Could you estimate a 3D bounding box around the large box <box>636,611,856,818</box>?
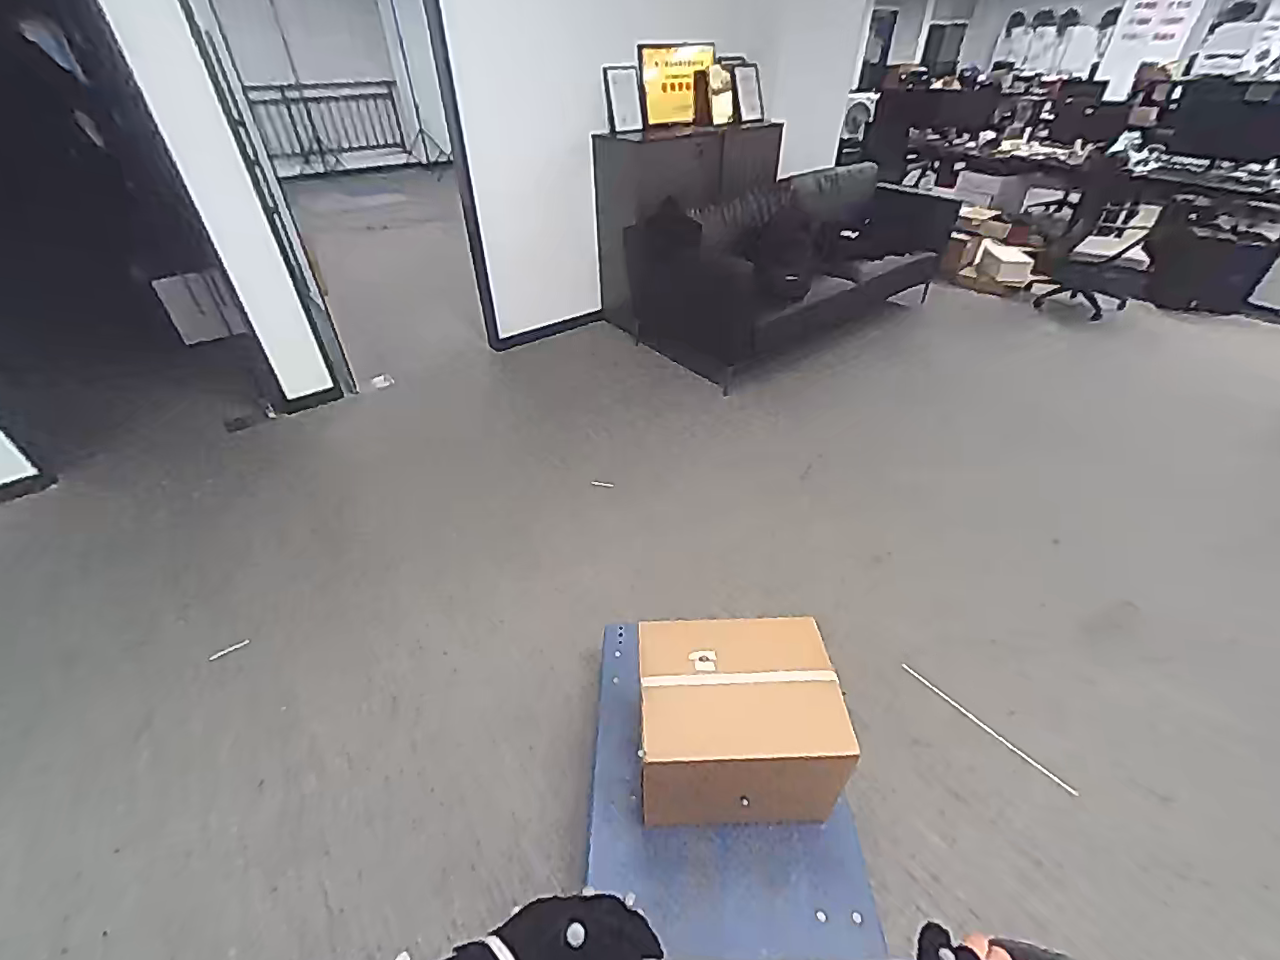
[{"bbox_3d":[0.203,0.522,1.208,0.408,0.320,0.320,-3,38,-2],"label":"large box"}]
